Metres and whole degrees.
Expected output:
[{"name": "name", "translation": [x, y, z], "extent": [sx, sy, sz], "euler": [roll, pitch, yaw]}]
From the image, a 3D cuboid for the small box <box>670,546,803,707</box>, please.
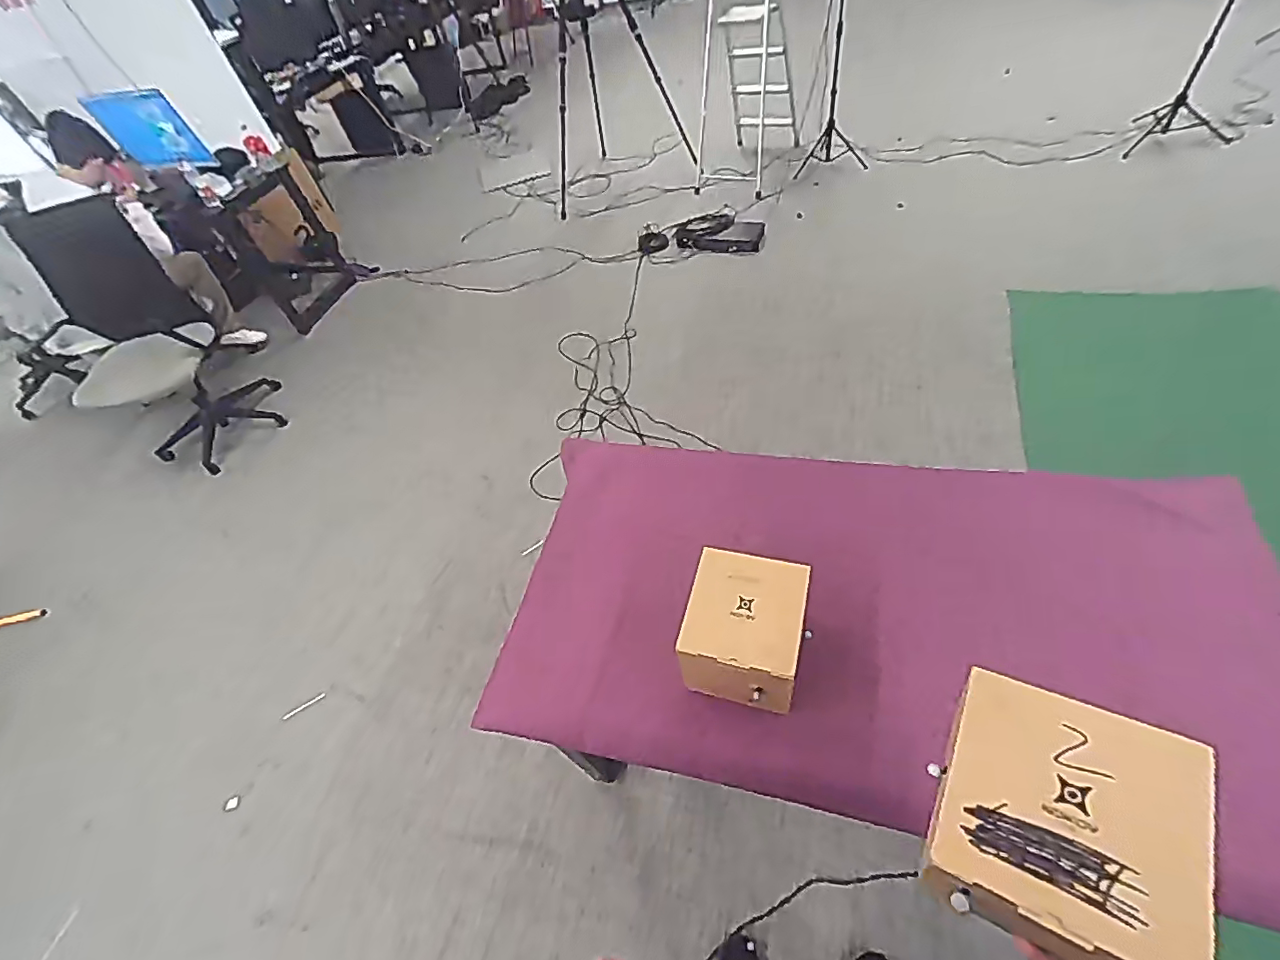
[{"name": "small box", "translation": [0.157, 0.234, 0.851], "extent": [0.168, 0.176, 0.179], "euler": [9, 54, 18]}]
